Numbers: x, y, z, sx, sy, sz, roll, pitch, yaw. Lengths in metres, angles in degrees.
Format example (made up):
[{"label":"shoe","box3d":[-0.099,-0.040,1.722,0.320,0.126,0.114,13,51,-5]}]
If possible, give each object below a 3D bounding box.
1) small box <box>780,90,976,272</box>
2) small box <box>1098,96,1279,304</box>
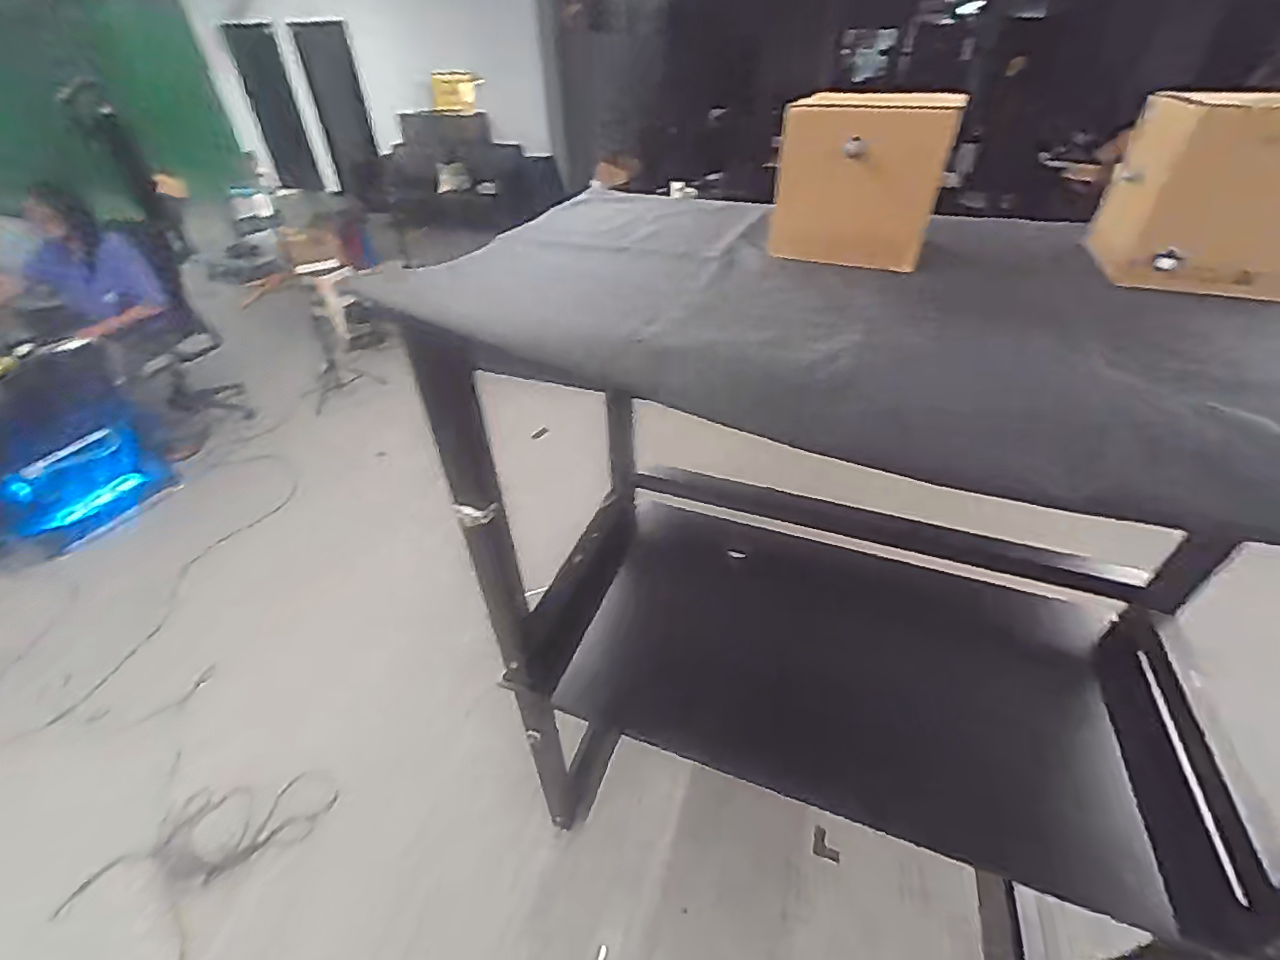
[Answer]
[{"label":"small box","box3d":[0.289,-0.371,0.671,0.179,0.176,0.168,17,42,21]},{"label":"small box","box3d":[0.636,-0.301,0.575,0.168,0.176,0.179,16,41,19]}]
